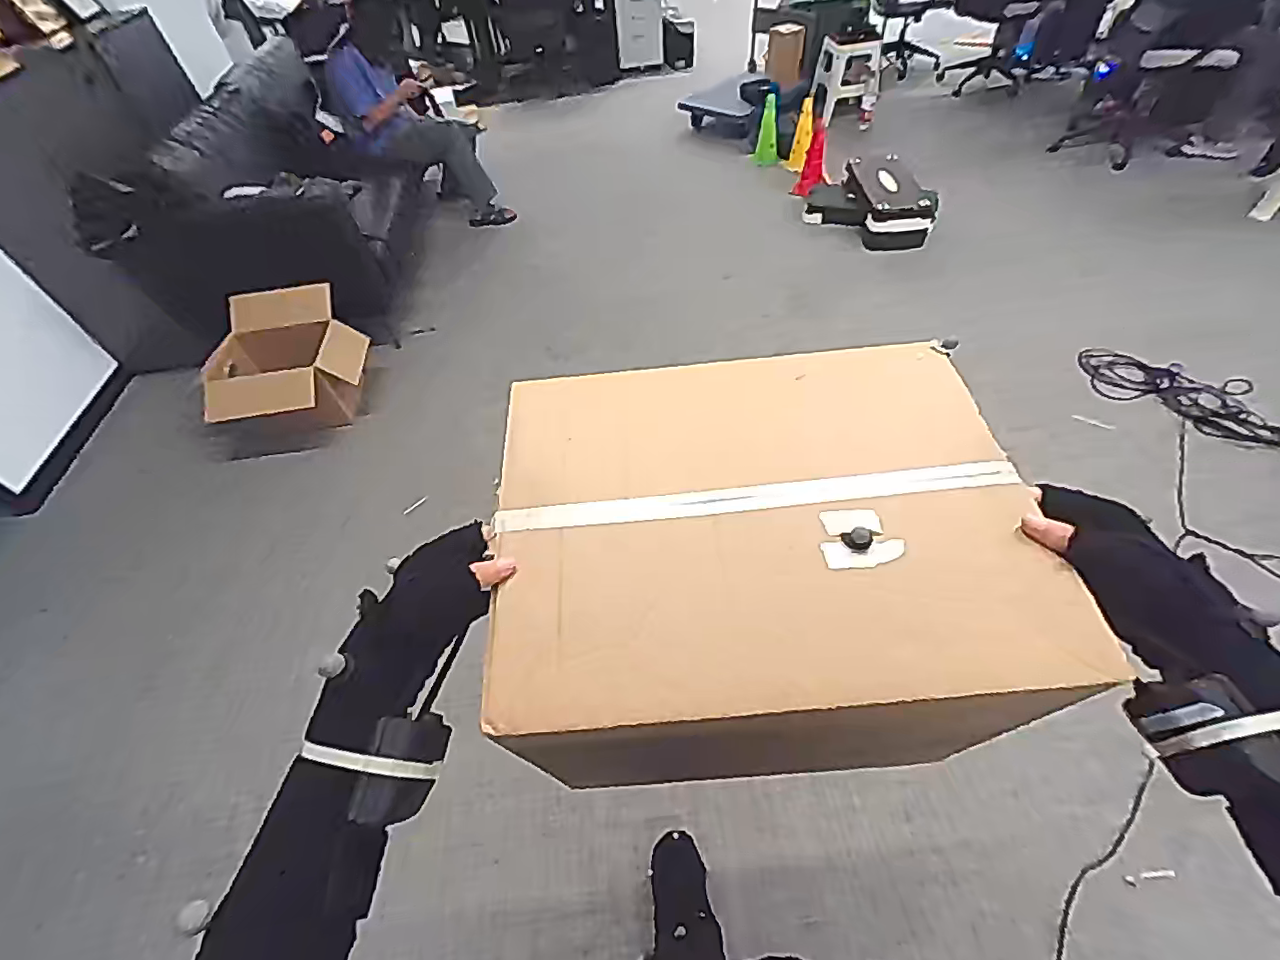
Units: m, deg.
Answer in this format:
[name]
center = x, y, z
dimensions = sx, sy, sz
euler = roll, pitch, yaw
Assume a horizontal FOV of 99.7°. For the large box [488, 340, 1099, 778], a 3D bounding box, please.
[large box]
center = 0.094, 0.094, 0.550
dimensions = 0.408, 0.320, 0.320
euler = -5, 56, 0
